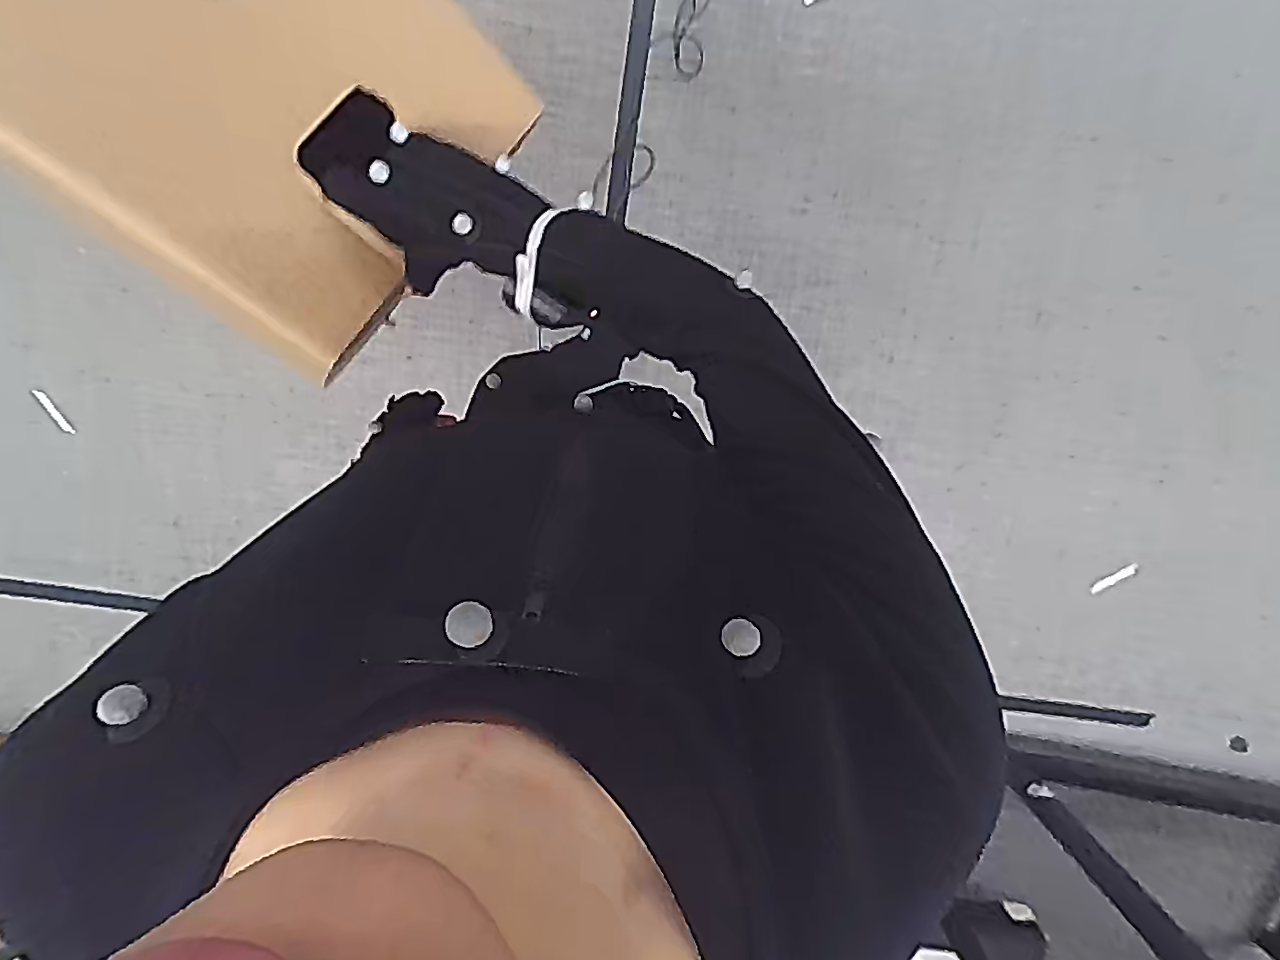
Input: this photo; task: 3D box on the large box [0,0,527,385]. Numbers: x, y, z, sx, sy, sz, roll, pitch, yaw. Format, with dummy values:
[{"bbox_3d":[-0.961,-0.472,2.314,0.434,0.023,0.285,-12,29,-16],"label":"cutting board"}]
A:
[{"bbox_3d":[-0.386,-0.324,0.581,0.320,0.408,0.320,39,75,-29],"label":"large box"}]
